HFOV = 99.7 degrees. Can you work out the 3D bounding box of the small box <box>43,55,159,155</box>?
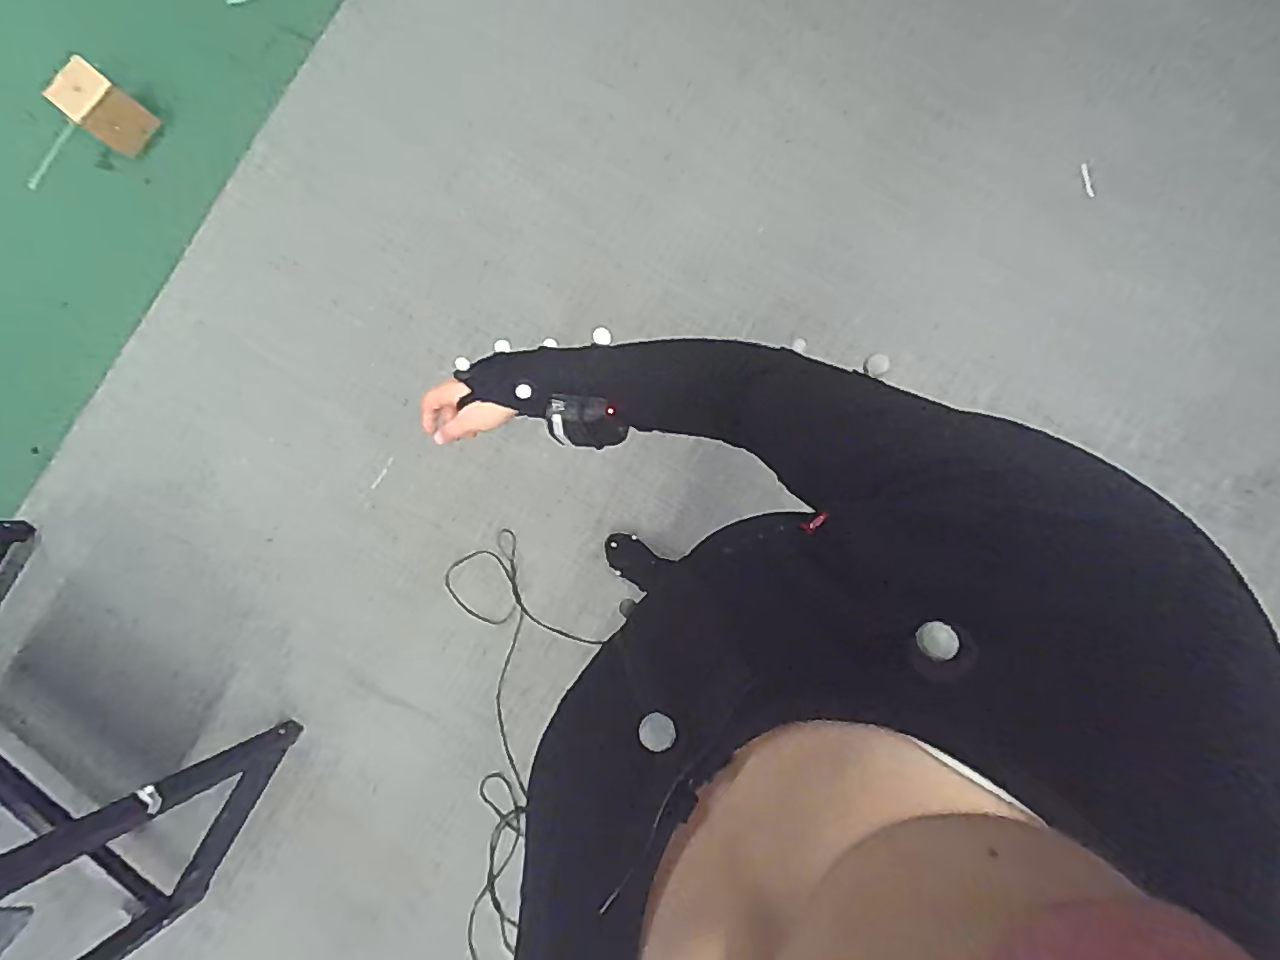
[{"bbox_3d":[-1.717,-1.191,1.735,0.179,0.176,0.168,39,89,8],"label":"small box"}]
